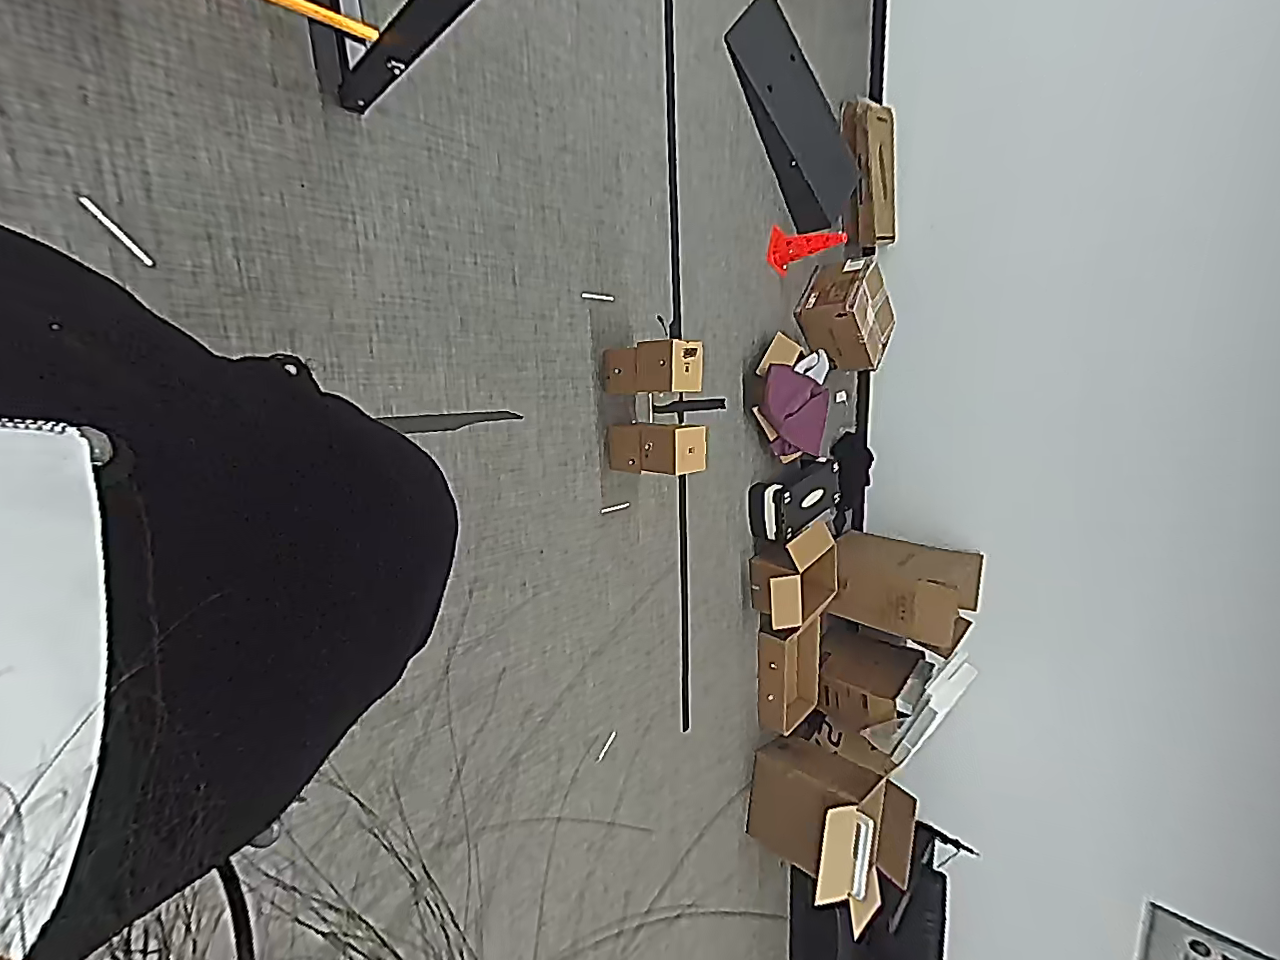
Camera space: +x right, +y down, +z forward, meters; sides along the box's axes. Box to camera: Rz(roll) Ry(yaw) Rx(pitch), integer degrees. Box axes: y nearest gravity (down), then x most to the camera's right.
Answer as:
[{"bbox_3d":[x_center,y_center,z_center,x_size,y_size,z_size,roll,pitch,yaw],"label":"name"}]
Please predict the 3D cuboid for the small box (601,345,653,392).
[{"bbox_3d":[-0.034,-0.415,2.034,0.179,0.176,0.168,-10,103,-45],"label":"small box"}]

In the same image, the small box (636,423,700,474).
[{"bbox_3d":[0.103,-0.122,1.990,0.179,0.176,0.168,-12,104,-44],"label":"small box"}]

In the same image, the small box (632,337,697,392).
[{"bbox_3d":[0.085,-0.405,1.917,0.168,0.176,0.179,-9,103,-46],"label":"small box"}]

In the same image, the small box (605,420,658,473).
[{"bbox_3d":[-0.023,-0.134,2.093,0.168,0.176,0.179,-15,107,-45],"label":"small box"}]
